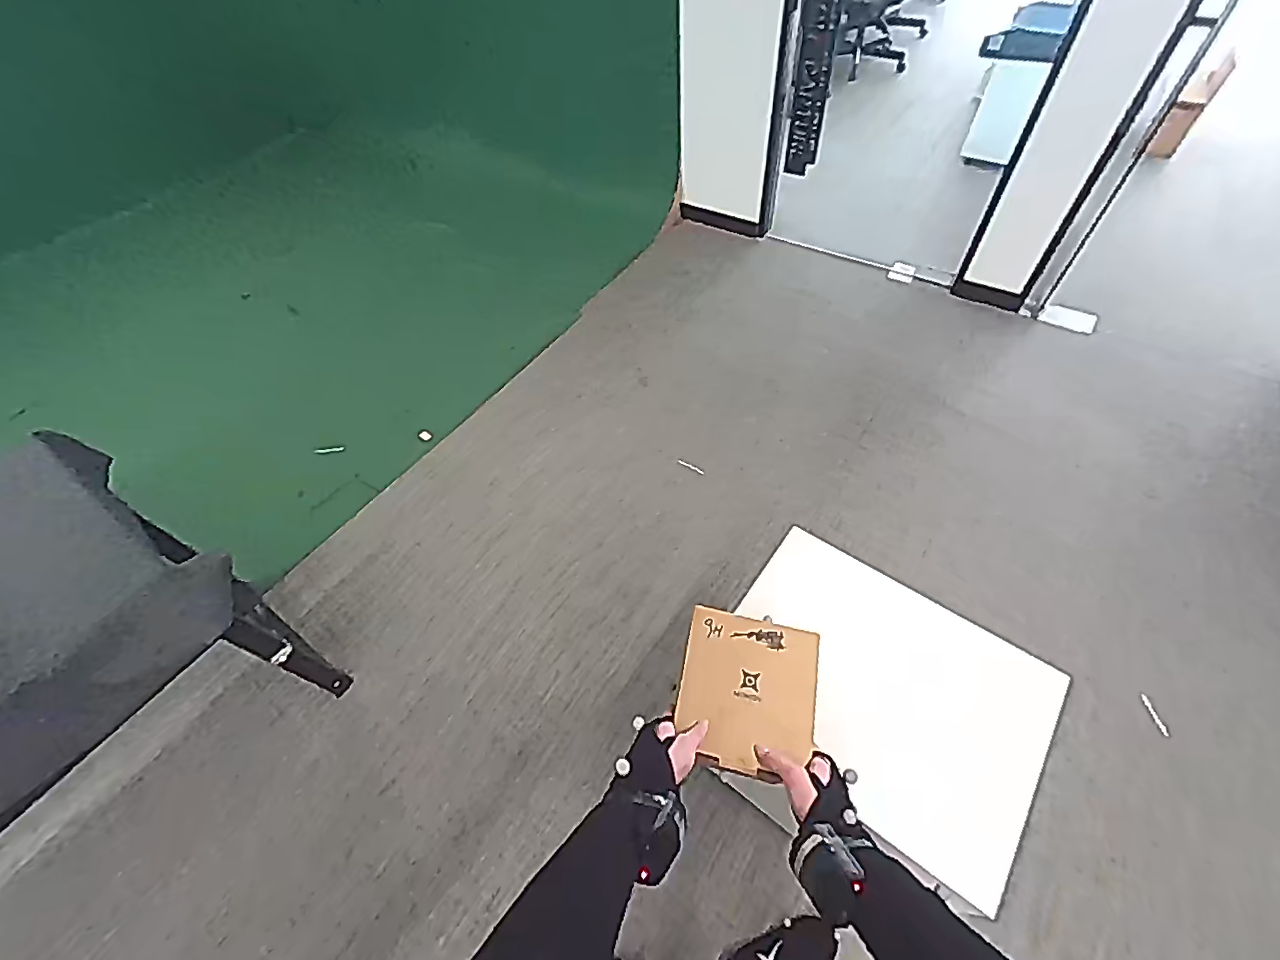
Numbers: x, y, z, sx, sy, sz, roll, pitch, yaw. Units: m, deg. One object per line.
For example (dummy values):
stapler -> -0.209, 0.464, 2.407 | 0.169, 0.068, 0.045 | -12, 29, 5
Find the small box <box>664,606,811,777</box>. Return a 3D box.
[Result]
small box -> 0.126, 0.293, 0.738 | 0.168, 0.176, 0.179 | 10, 60, 5
